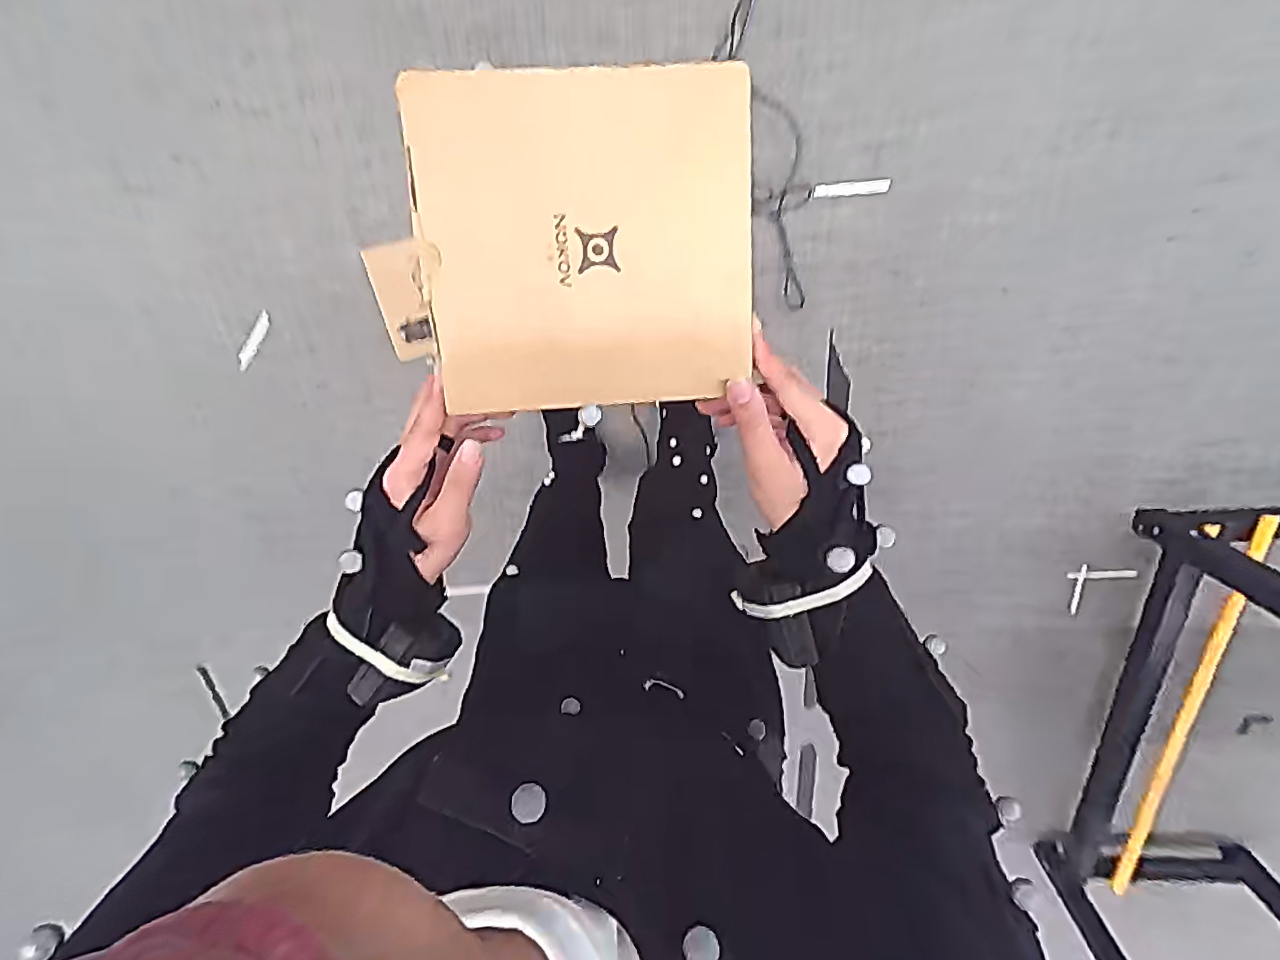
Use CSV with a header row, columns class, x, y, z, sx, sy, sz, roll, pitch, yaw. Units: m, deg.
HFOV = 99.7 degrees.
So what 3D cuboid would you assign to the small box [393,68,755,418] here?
class,x,y,z,sx,sy,sz,roll,pitch,yaw
small box,-0.033,-0.139,0.356,0.179,0.176,0.168,-4,106,-2
